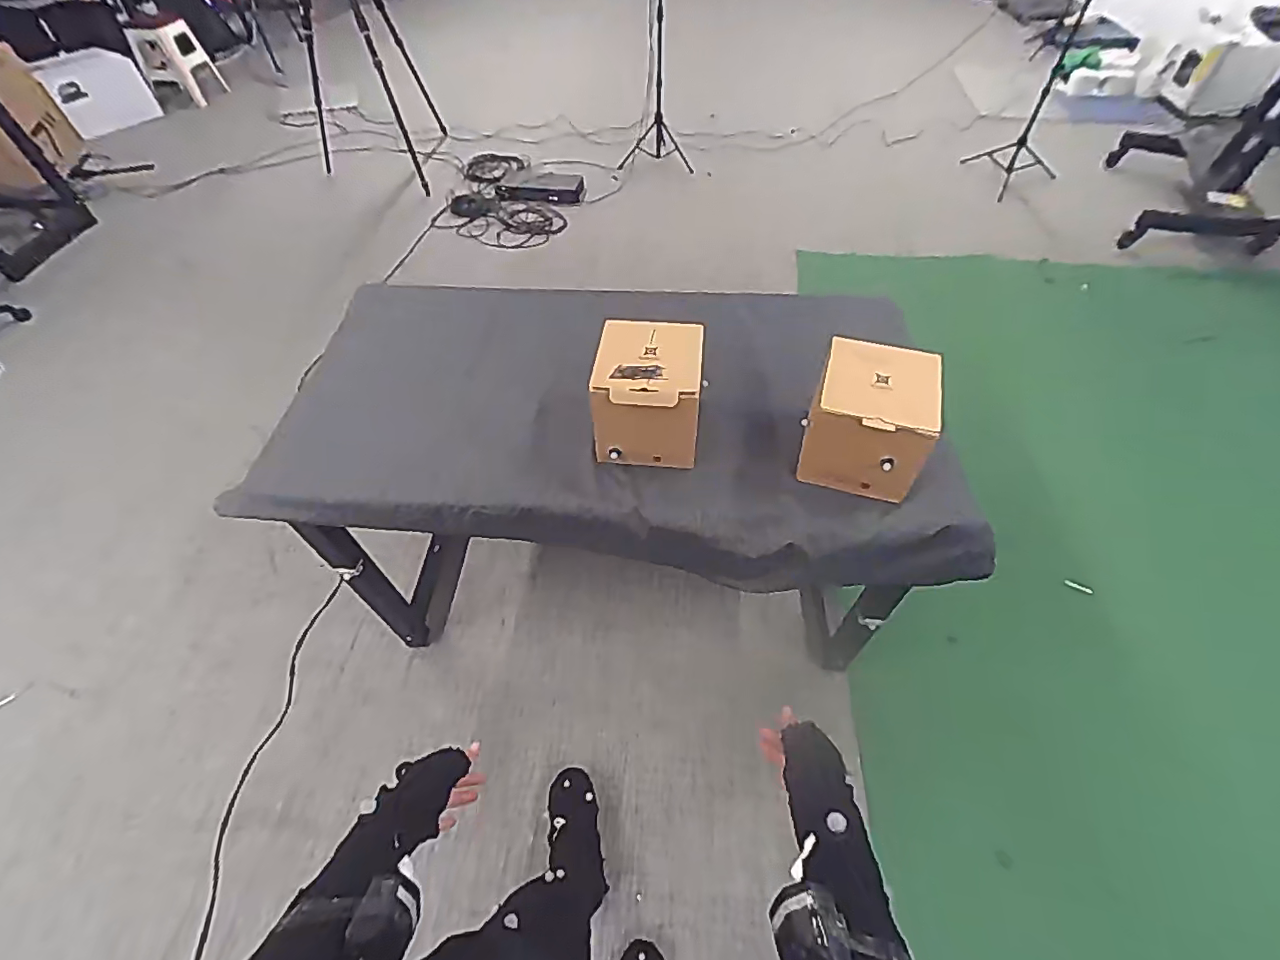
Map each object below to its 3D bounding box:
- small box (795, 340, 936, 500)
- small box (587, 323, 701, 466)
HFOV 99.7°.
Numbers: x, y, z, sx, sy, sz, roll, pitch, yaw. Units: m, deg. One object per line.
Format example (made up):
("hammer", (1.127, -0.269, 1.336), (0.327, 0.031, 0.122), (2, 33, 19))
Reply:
("small box", (0.354, -0.093, 0.867), (0.168, 0.176, 0.179), (14, 52, 11))
("small box", (0.012, -0.140, 0.910), (0.168, 0.176, 0.179), (4, 51, 4))
